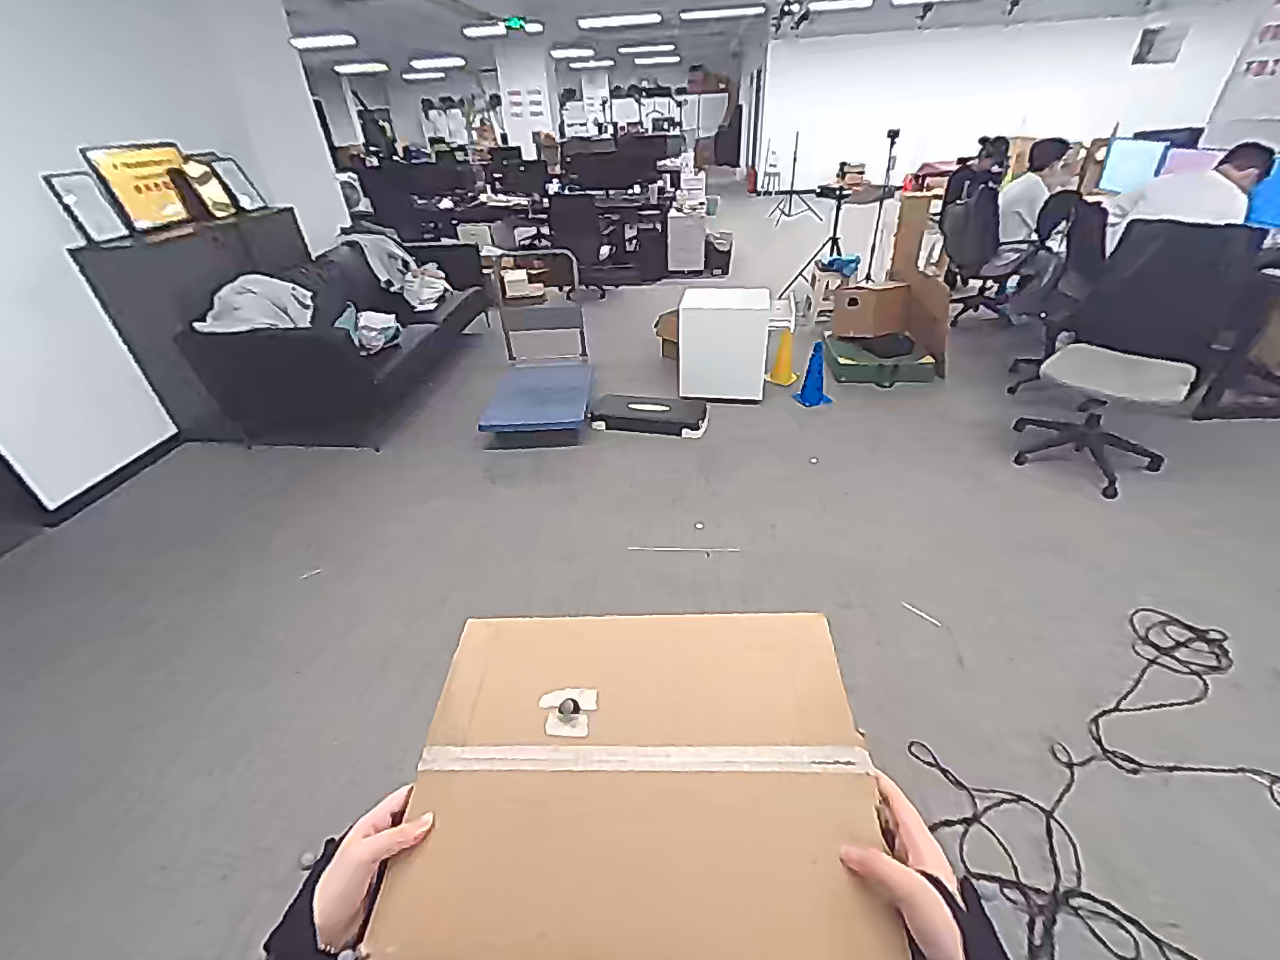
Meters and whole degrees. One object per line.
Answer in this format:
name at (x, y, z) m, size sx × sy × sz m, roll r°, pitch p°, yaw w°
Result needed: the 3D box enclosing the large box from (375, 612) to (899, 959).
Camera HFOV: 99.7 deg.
large box at (0.013, 0.373, 0.606) m, size 0.408 × 0.320 × 0.320 m, roll -4°, pitch 41°, yaw 7°
